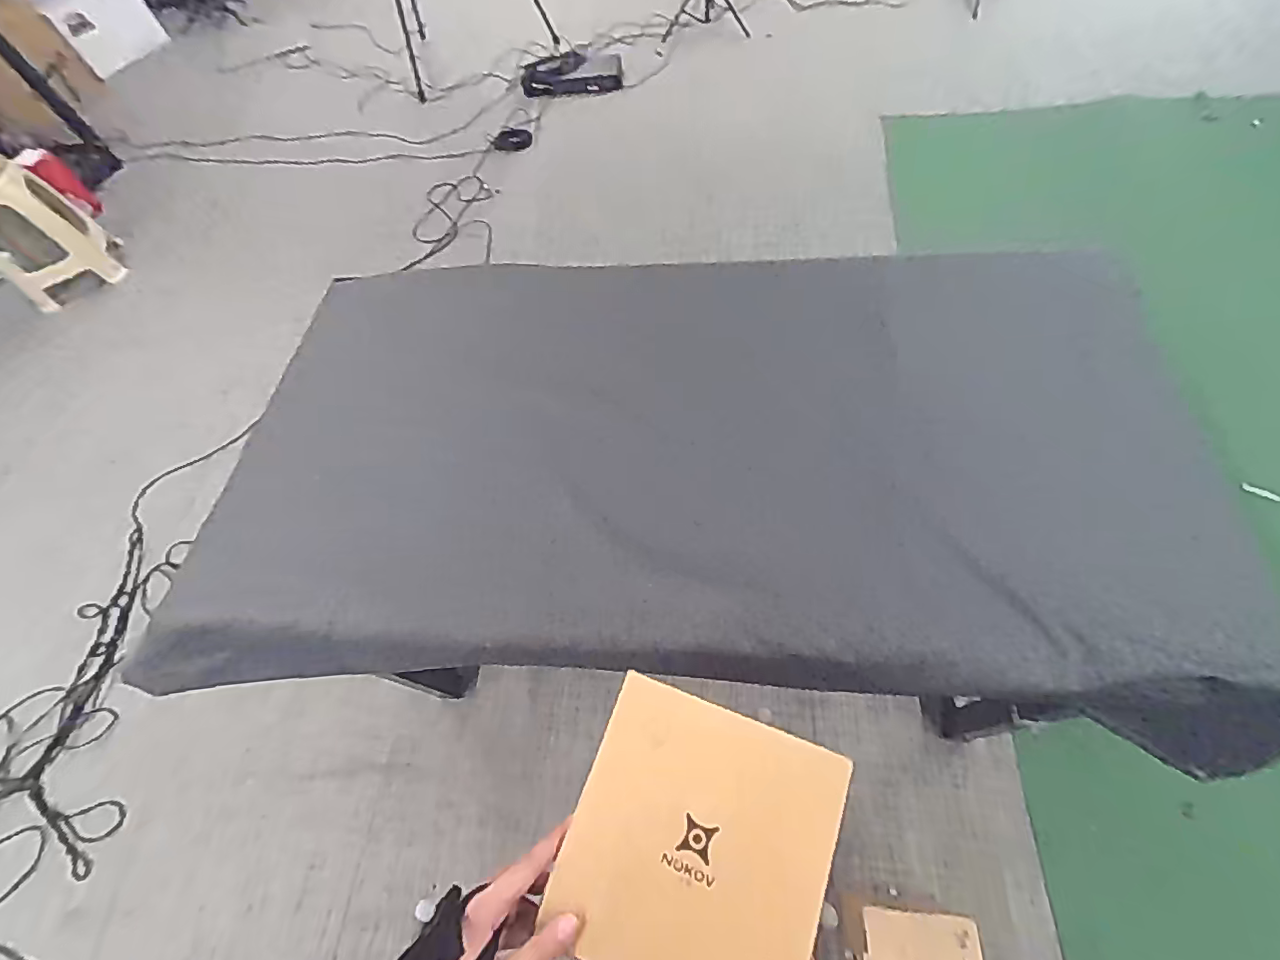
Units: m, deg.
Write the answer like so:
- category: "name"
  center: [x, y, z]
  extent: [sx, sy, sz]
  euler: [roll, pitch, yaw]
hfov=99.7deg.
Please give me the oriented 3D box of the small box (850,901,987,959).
- category: "small box"
  center: [0.454, 0.811, 0.889]
  extent: [0.179, 0.176, 0.168]
  euler: [0, 58, 8]

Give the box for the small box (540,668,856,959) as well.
- category: "small box"
  center: [0.051, 0.269, 0.421]
  extent: [0.168, 0.176, 0.179]
  euler: [15, 69, 17]
